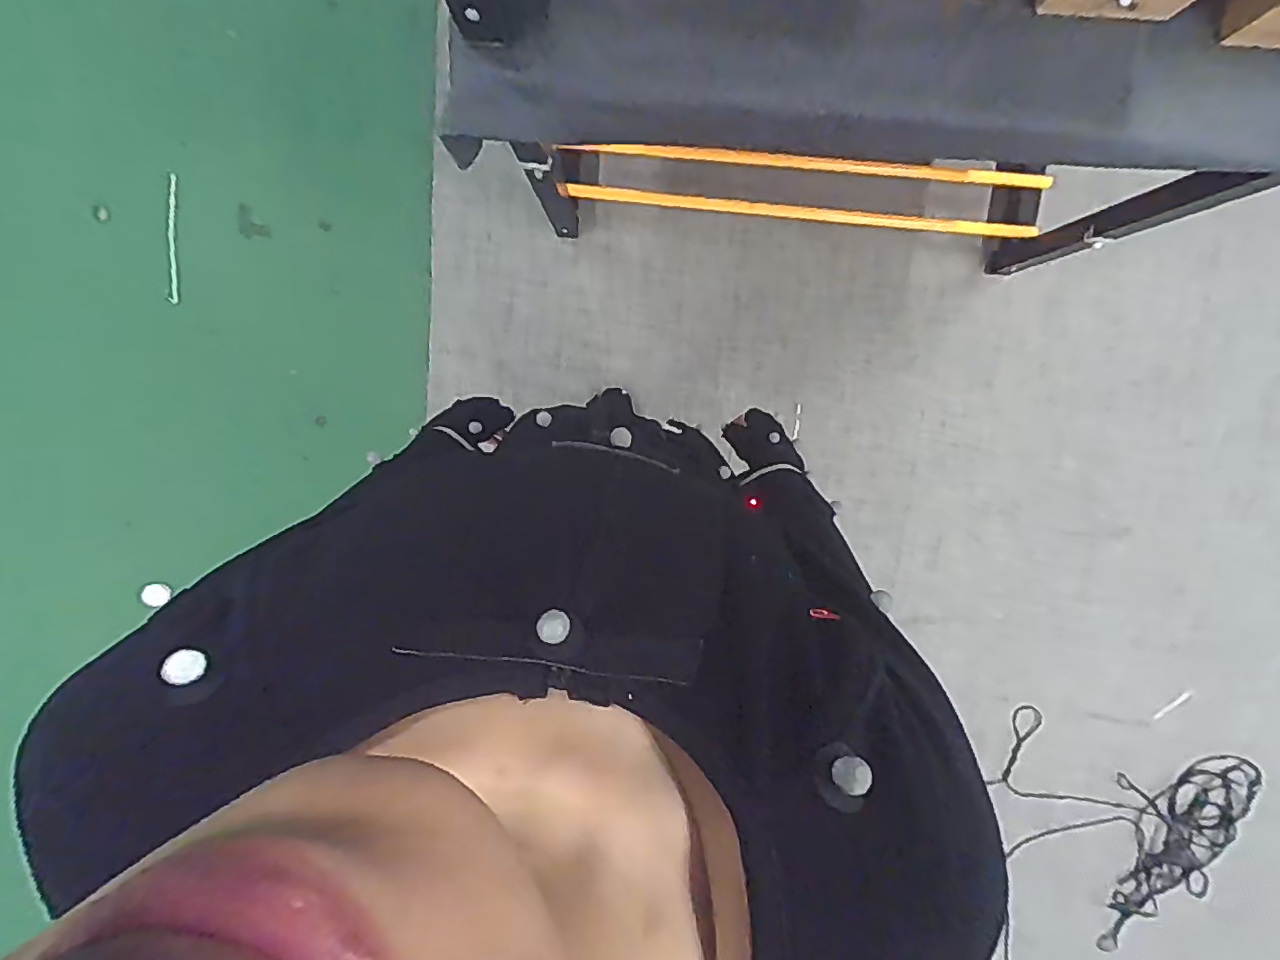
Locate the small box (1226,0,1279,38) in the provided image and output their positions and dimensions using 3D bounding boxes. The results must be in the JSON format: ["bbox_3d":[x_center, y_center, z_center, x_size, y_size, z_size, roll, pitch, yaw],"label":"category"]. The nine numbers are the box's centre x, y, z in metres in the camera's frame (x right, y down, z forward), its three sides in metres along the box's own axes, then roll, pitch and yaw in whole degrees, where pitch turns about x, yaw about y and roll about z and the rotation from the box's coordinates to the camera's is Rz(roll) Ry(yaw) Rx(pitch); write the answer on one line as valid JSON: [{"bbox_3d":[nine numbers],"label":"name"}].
[{"bbox_3d":[0.795,-0.605,0.571,0.168,0.176,0.179,3,98,-1],"label":"small box"}]
